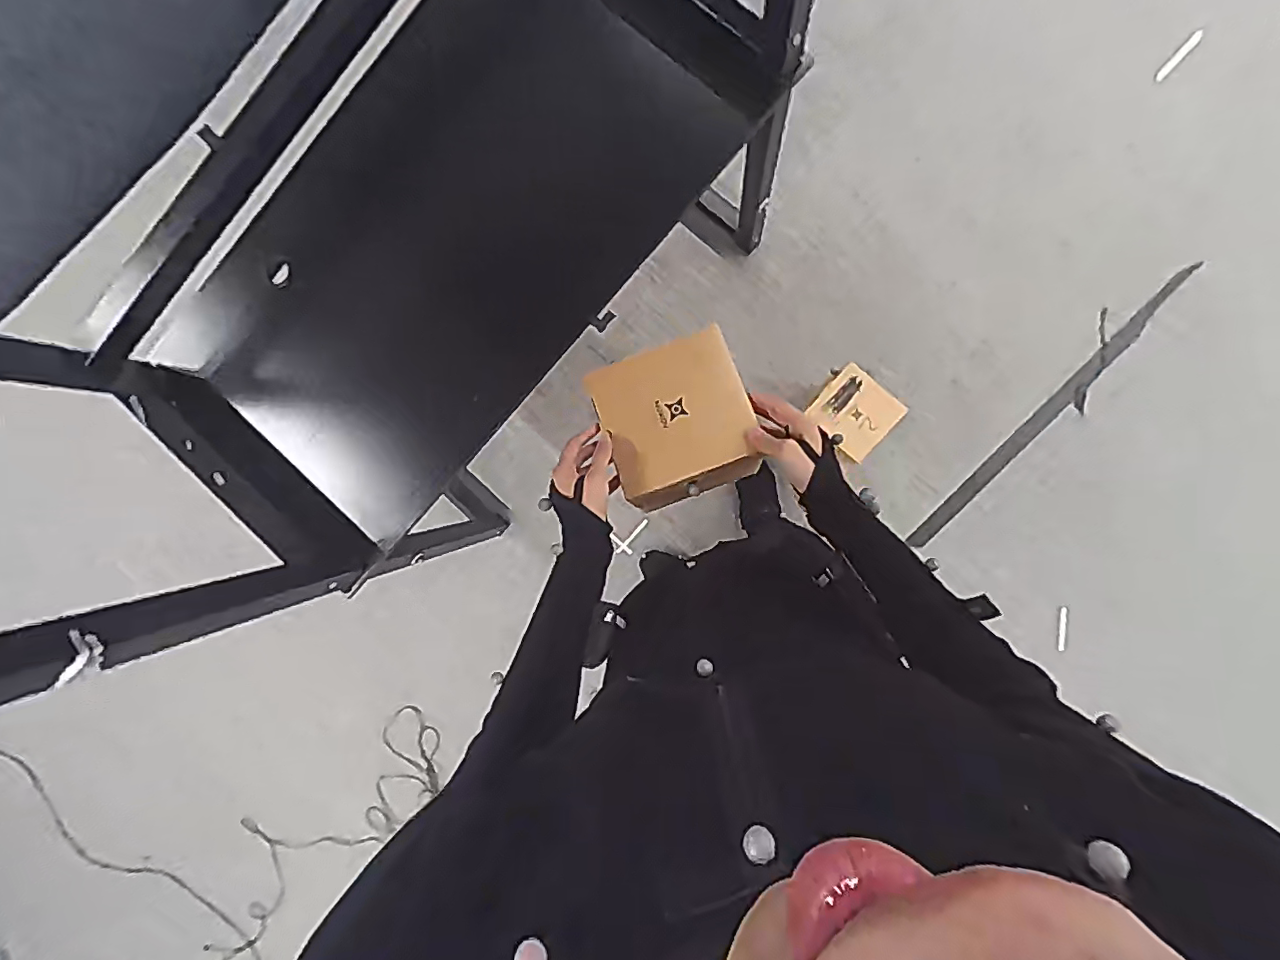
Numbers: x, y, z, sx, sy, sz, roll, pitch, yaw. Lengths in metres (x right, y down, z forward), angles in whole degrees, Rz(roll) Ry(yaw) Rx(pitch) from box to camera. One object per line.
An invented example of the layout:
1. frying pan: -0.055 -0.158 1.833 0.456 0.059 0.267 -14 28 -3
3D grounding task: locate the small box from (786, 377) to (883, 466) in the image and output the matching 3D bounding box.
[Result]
1. small box: 0.521 -0.155 1.483 0.168 0.176 0.179 40 97 5
